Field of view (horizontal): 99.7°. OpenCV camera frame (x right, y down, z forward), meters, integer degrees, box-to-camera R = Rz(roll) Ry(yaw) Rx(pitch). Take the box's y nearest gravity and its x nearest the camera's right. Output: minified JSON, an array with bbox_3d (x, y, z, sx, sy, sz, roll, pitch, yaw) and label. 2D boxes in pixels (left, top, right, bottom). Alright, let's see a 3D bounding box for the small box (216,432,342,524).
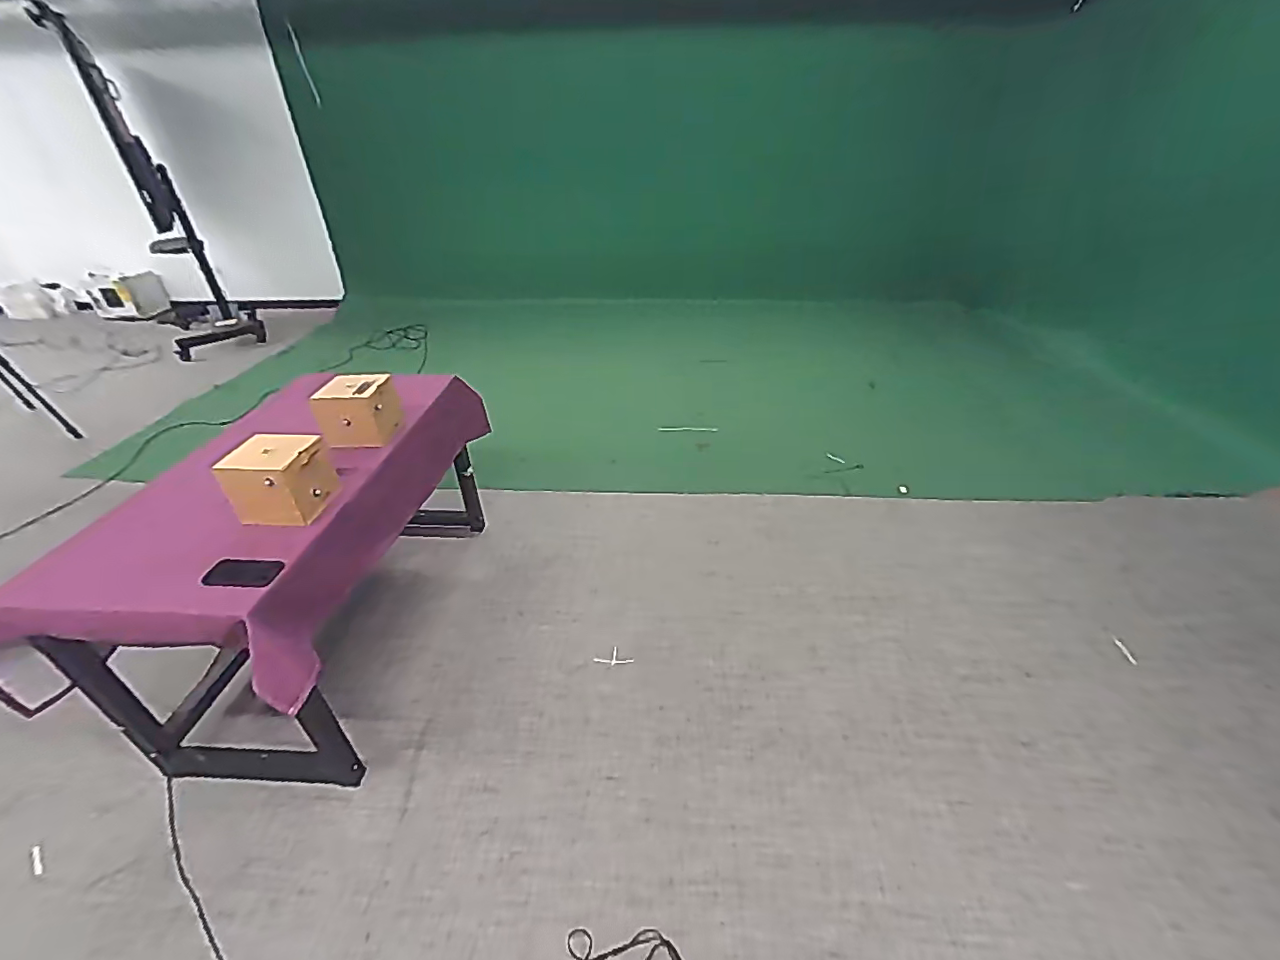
[{"bbox_3d":[-0.888,-0.005,1.349,0.179,0.176,0.168,2,34,4],"label":"small box"}]
